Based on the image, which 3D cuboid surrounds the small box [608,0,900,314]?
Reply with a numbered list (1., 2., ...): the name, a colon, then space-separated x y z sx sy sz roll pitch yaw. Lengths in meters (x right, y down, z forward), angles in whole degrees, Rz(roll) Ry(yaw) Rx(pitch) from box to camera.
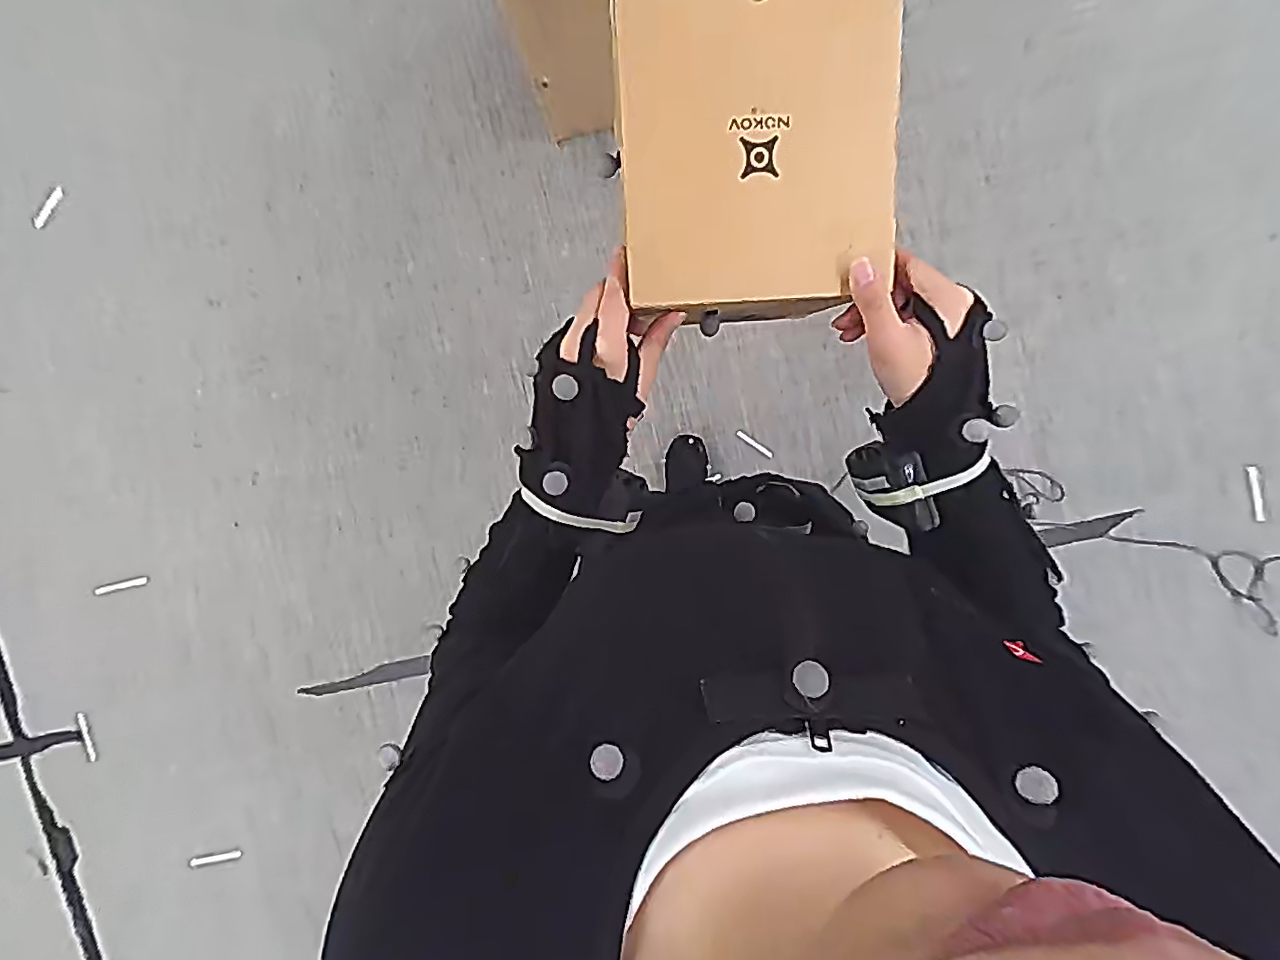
1. small box: 0.068 -0.220 0.395 0.168 0.176 0.179 -4 100 0
